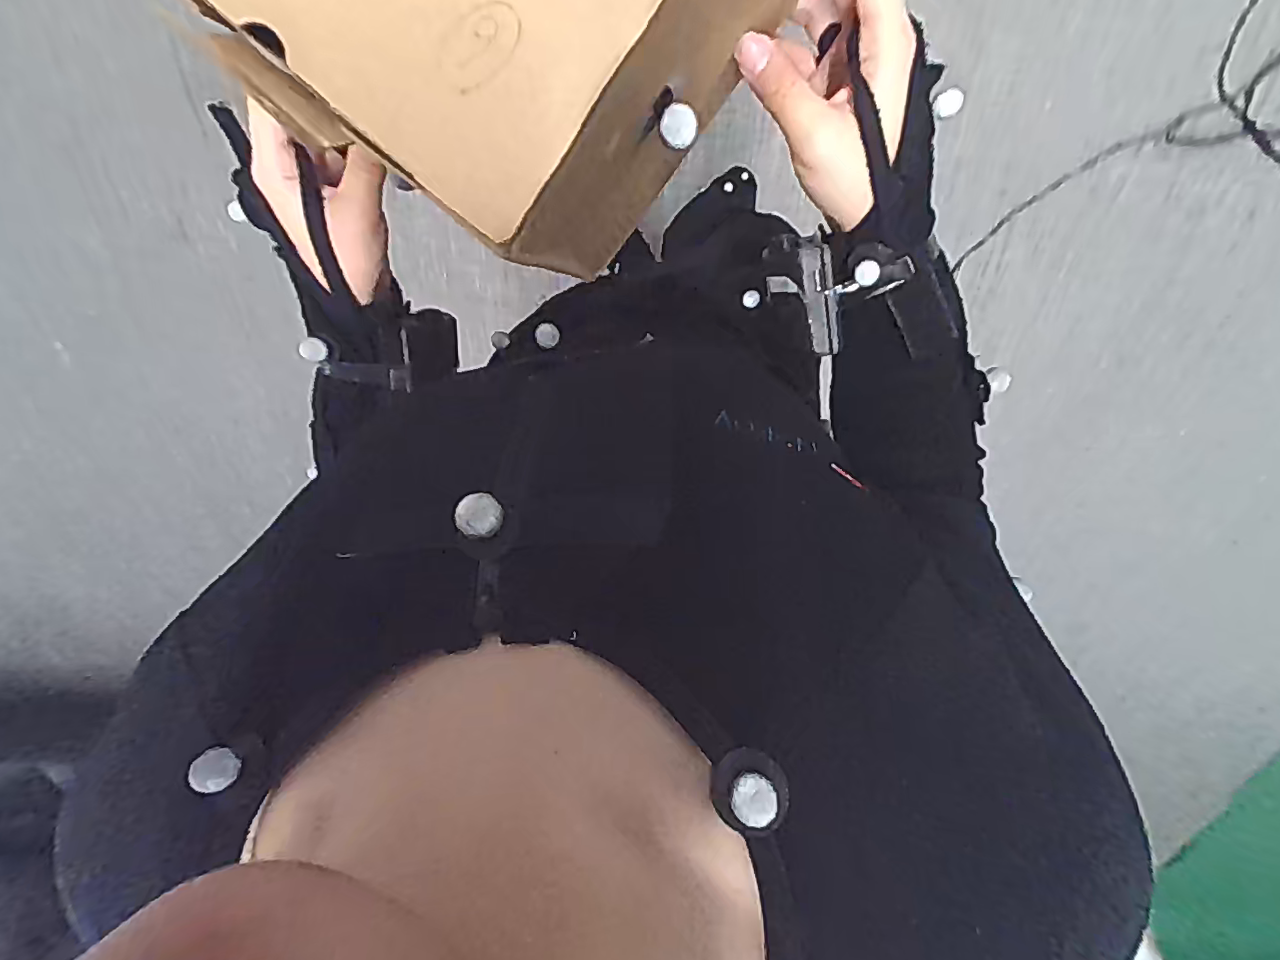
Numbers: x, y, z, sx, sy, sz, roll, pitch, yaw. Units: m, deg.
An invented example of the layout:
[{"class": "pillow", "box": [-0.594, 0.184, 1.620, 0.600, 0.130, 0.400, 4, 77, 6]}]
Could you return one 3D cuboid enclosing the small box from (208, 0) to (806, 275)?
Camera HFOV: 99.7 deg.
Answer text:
[{"class": "small box", "box": [-0.034, -0.203, 0.217, 0.168, 0.176, 0.179, 39, 107, -8]}]
